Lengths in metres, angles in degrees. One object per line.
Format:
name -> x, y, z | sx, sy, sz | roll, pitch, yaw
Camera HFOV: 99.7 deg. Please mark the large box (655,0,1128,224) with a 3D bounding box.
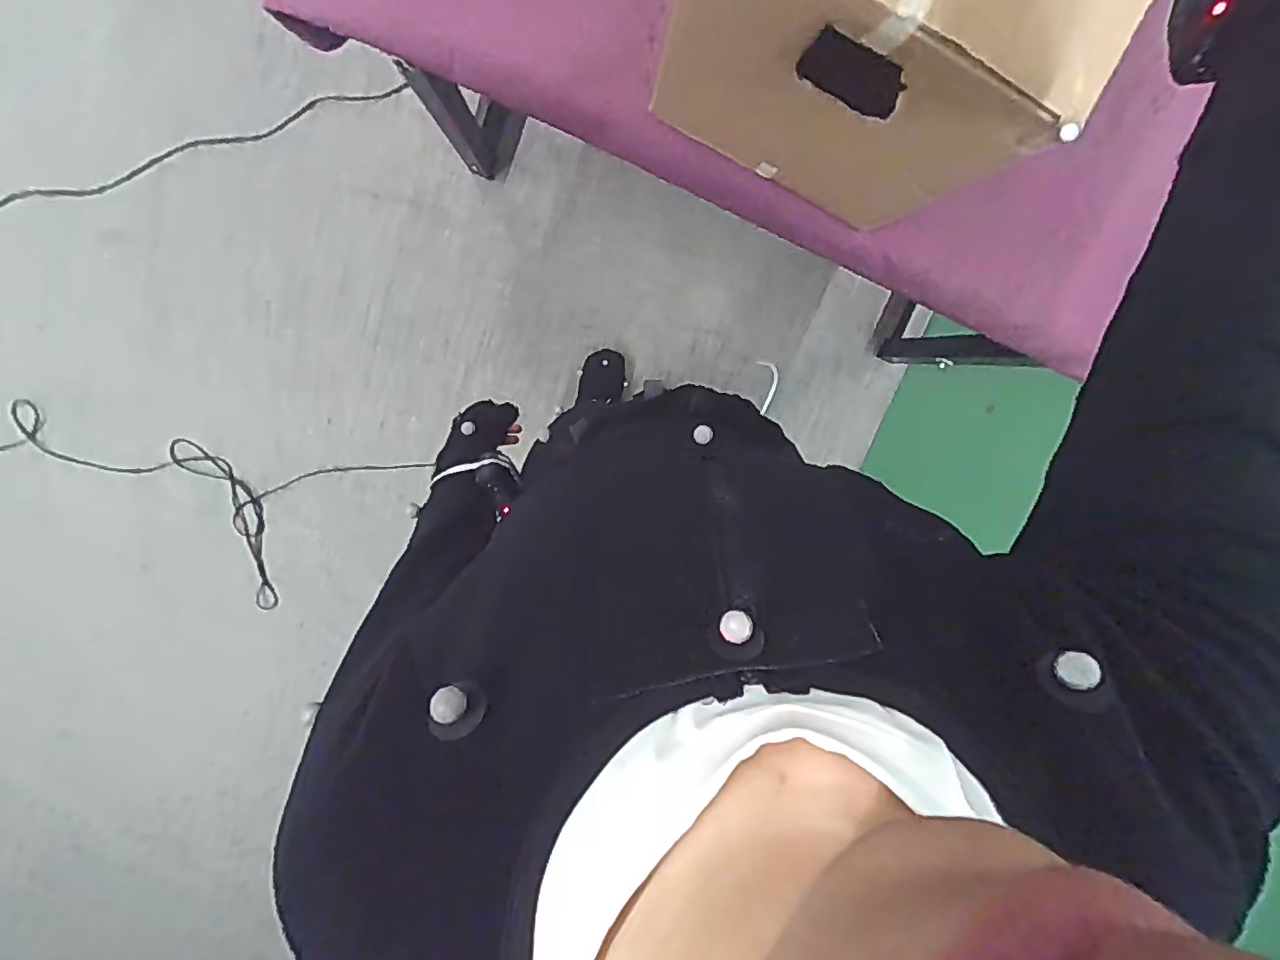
large box -> 0.245, -0.529, 0.499 | 0.320, 0.320, 0.408 | 23, 100, -9
